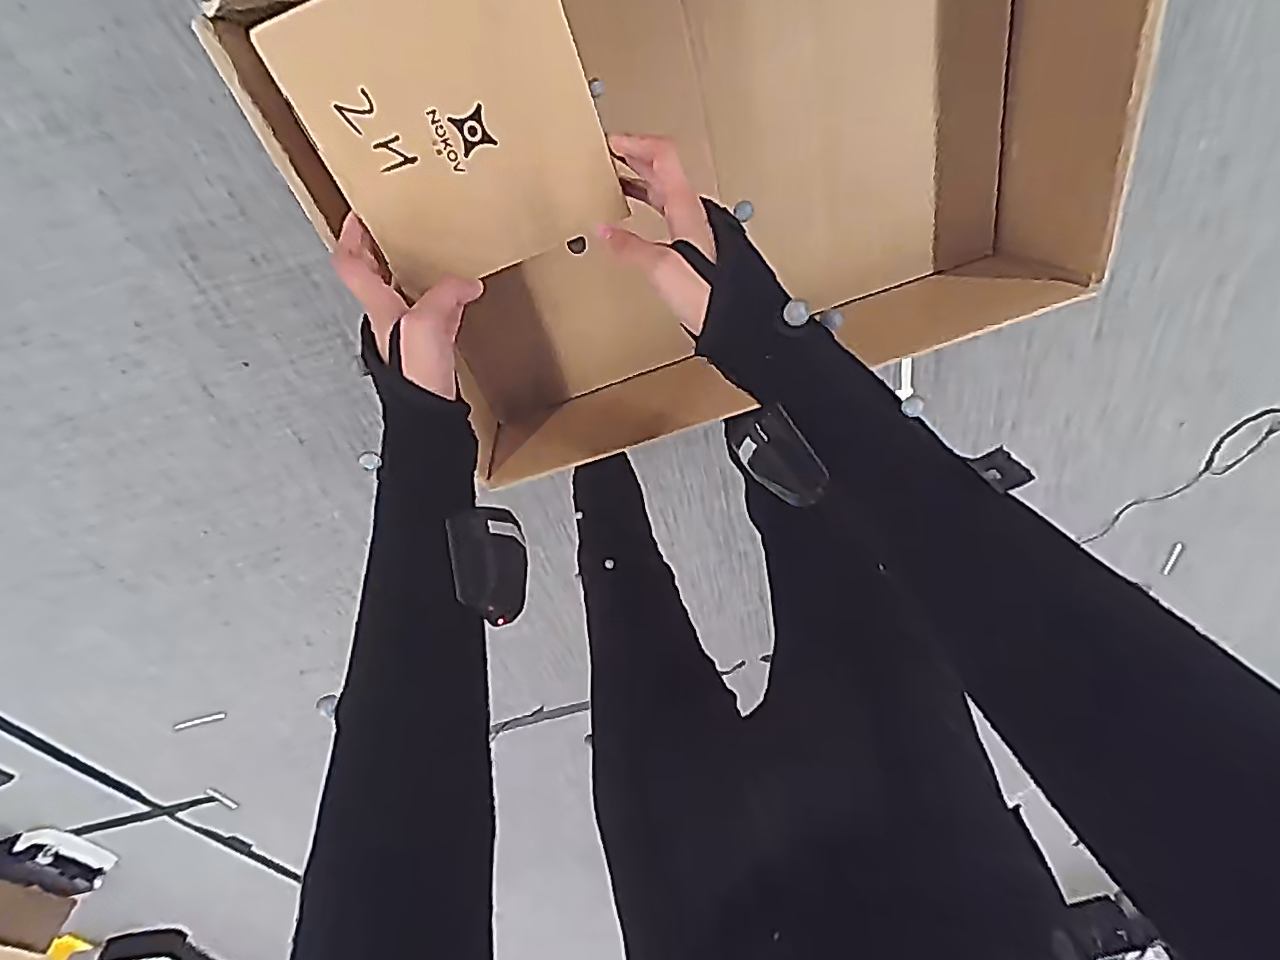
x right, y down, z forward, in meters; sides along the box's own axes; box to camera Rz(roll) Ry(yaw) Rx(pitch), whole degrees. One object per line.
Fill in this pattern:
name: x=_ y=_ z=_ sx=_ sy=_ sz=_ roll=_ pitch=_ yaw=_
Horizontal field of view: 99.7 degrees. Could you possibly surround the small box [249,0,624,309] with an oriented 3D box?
small box: x=-0.128 y=-0.259 z=0.407 sx=0.179 sy=0.176 sz=0.168 roll=-20 pitch=125 yaw=5
